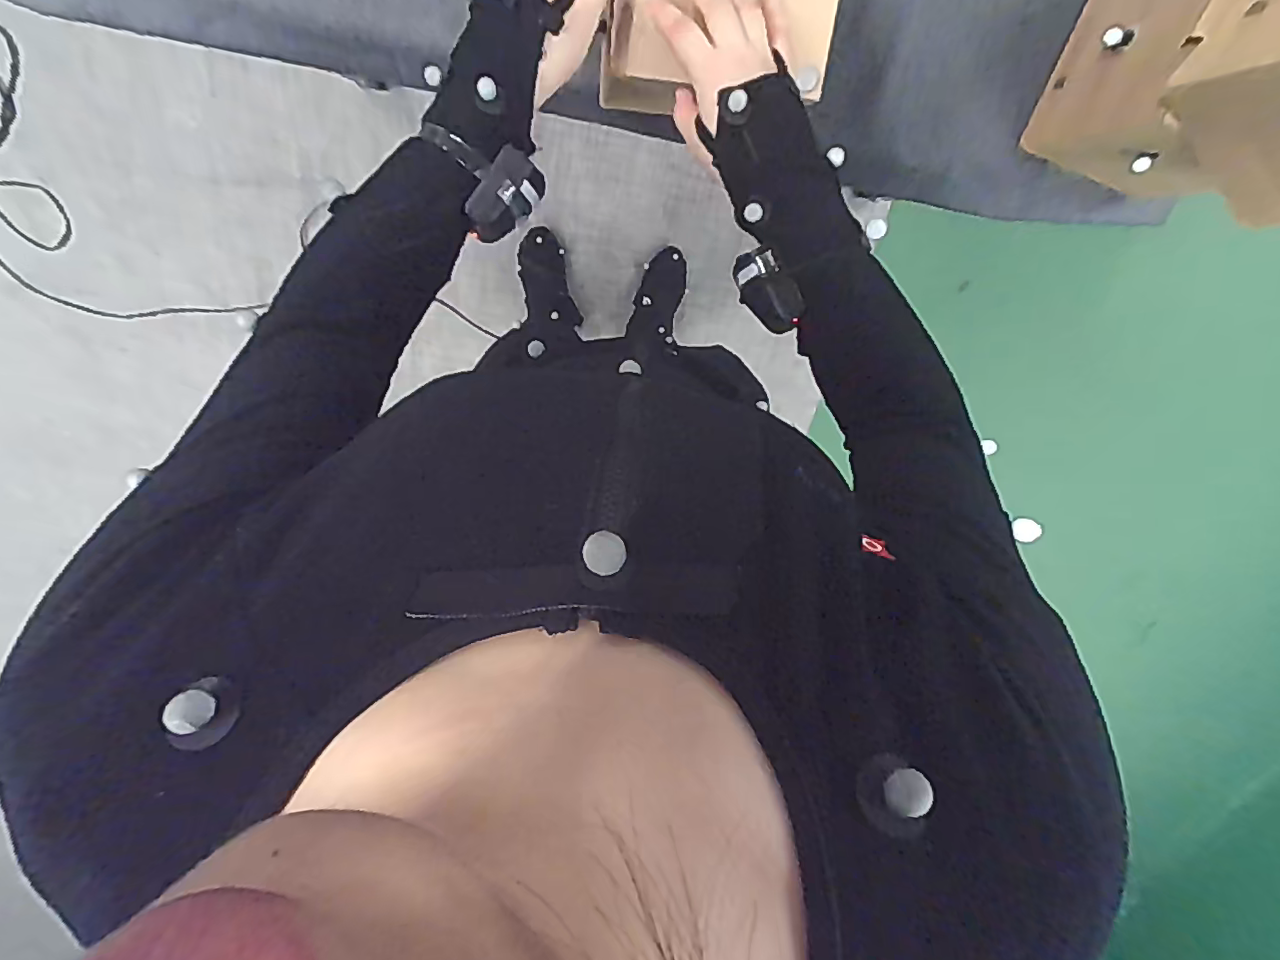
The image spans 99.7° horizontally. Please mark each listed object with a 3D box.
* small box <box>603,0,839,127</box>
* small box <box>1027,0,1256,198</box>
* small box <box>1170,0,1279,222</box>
[{"bbox_3d":[0.059,-0.415,0.465,0.179,0.176,0.168,2,118,-7],"label":"small box"},{"bbox_3d":[0.541,-0.391,0.531,0.179,0.176,0.168,13,112,-12],"label":"small box"},{"bbox_3d":[0.559,-0.307,0.391,0.179,0.176,0.168,33,106,-20],"label":"small box"}]
